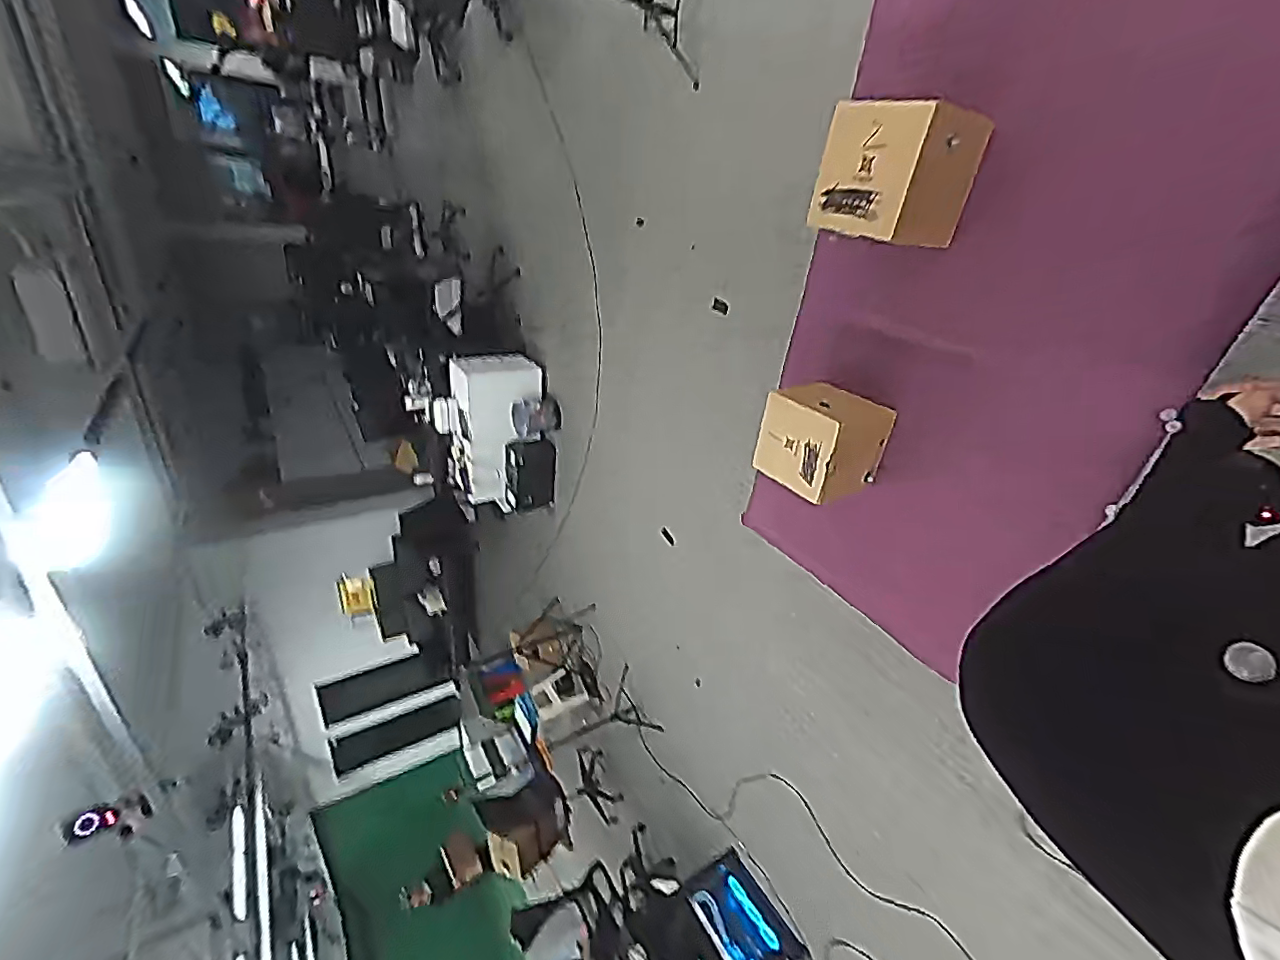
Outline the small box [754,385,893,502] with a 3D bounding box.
[{"bbox_3d":[0.357,-0.082,1.061,0.179,0.176,0.168,39,132,45],"label":"small box"}]
